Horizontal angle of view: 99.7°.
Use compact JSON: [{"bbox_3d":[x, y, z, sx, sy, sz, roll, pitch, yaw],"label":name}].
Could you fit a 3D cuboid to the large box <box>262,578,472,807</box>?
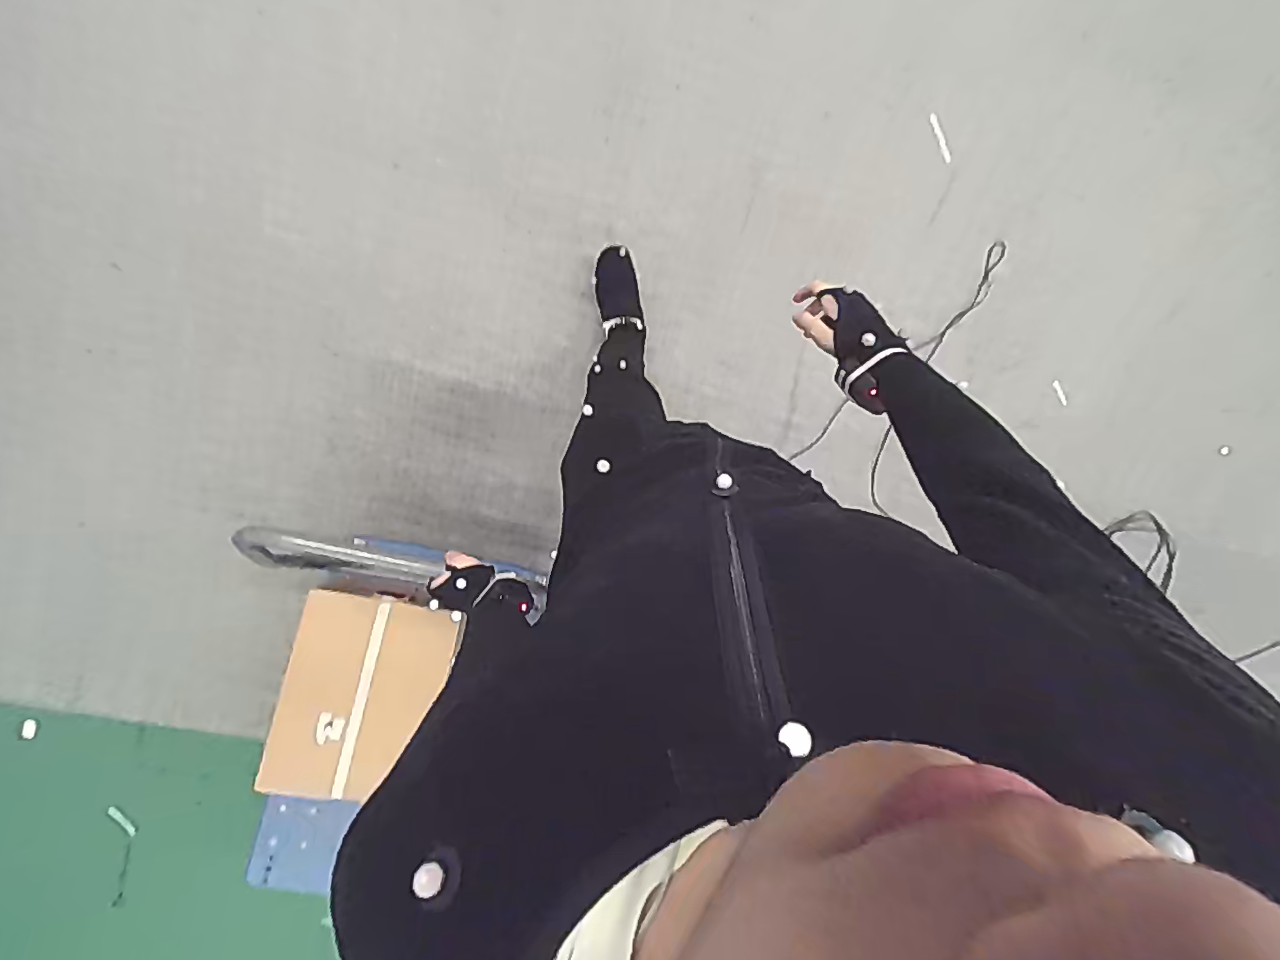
[{"bbox_3d":[-0.591,0.461,1.251,0.320,0.320,0.408,13,82,-11],"label":"large box"}]
